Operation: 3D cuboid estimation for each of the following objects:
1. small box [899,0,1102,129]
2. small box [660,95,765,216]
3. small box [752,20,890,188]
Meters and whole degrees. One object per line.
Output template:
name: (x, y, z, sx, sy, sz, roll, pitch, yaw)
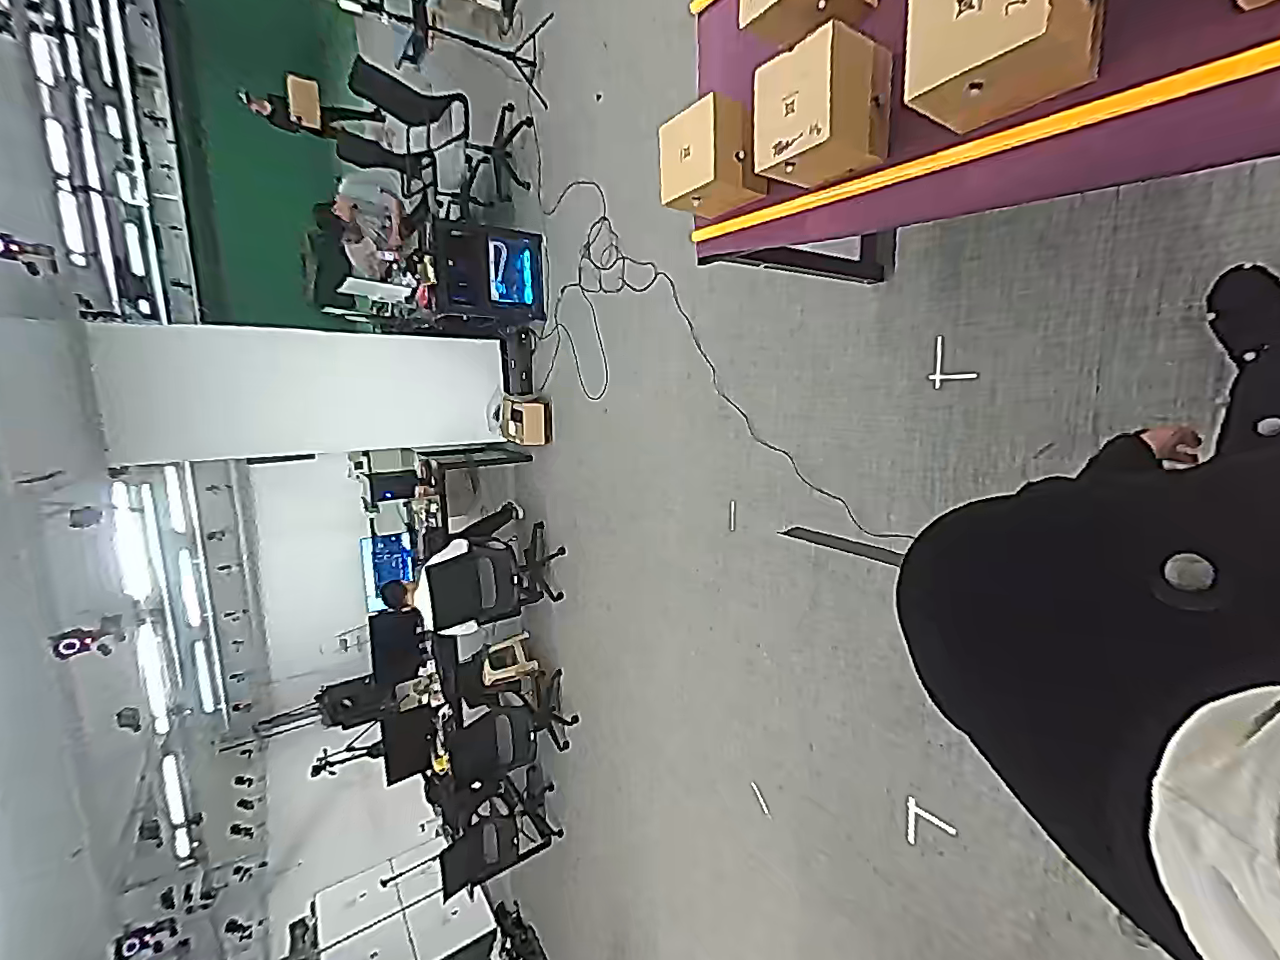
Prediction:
small box: (0.481, -0.609, 0.726, 0.179, 0.176, 0.168, 12, 105, 56)
small box: (0.163, -0.698, 1.186, 0.179, 0.176, 0.168, 12, 106, 55)
small box: (0.321, -0.649, 0.960, 0.168, 0.176, 0.179, 14, 107, 56)
